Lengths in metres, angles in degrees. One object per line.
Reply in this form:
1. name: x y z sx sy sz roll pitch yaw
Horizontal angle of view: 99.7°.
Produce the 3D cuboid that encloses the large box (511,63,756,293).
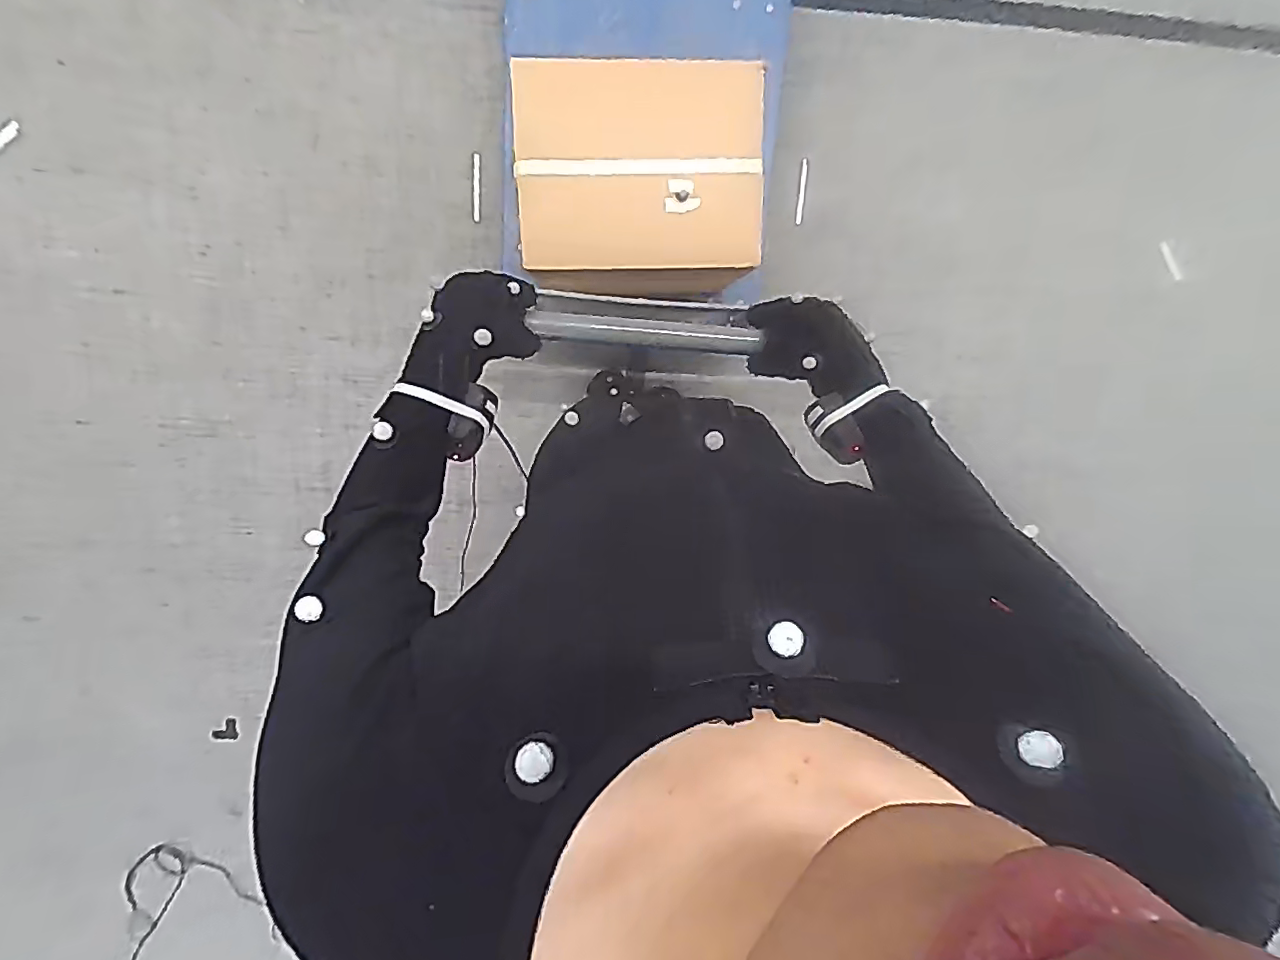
1. large box: -0.015 -0.549 1.045 0.408 0.320 0.320 -3 102 -4
